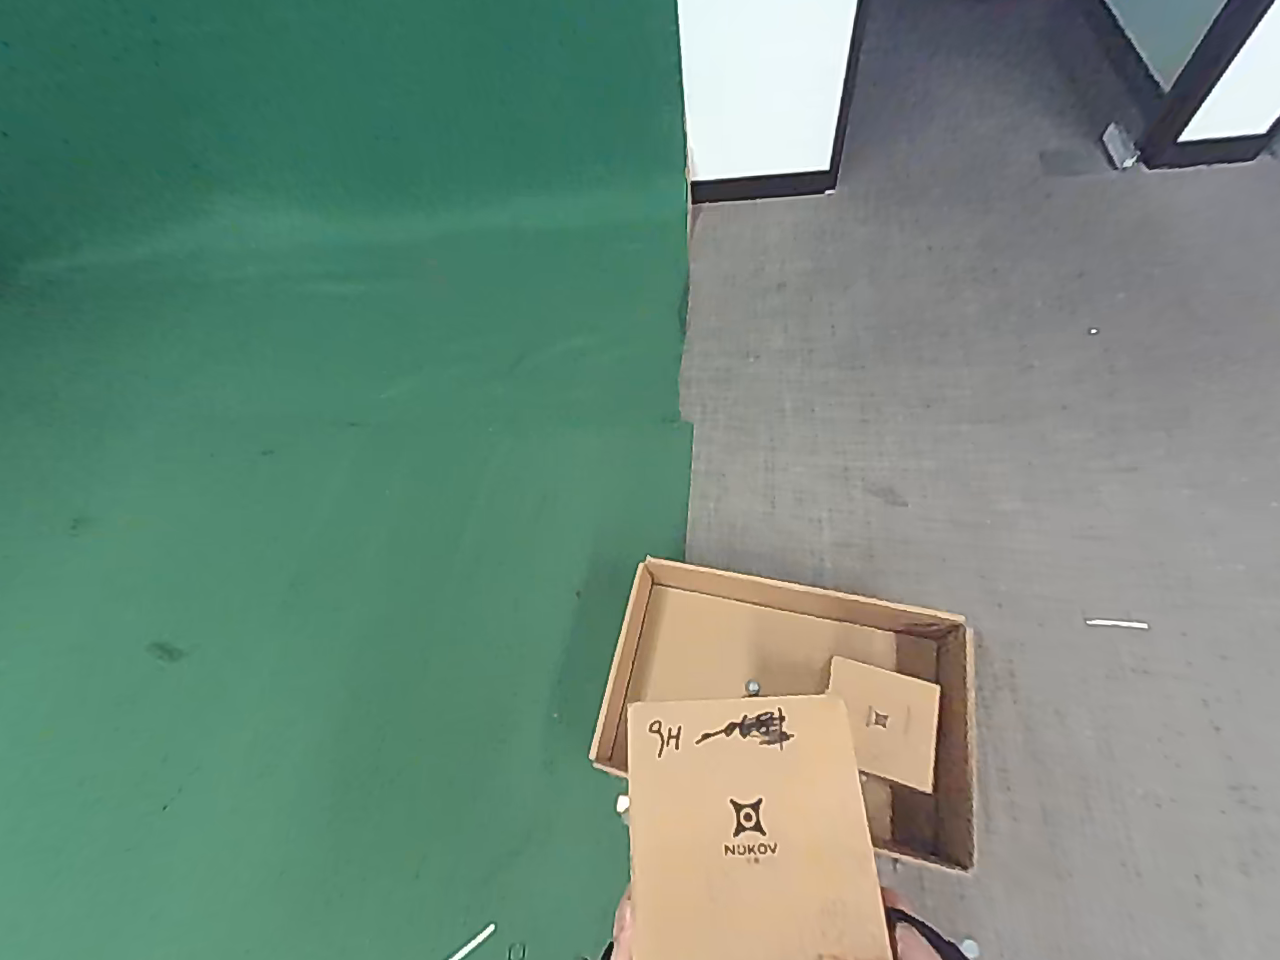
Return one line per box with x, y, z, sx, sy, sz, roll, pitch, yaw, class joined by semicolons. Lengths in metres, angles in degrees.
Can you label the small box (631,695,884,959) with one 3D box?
0.081;0.280;0.454;0.168;0.176;0.179;-2;64;2;small box
